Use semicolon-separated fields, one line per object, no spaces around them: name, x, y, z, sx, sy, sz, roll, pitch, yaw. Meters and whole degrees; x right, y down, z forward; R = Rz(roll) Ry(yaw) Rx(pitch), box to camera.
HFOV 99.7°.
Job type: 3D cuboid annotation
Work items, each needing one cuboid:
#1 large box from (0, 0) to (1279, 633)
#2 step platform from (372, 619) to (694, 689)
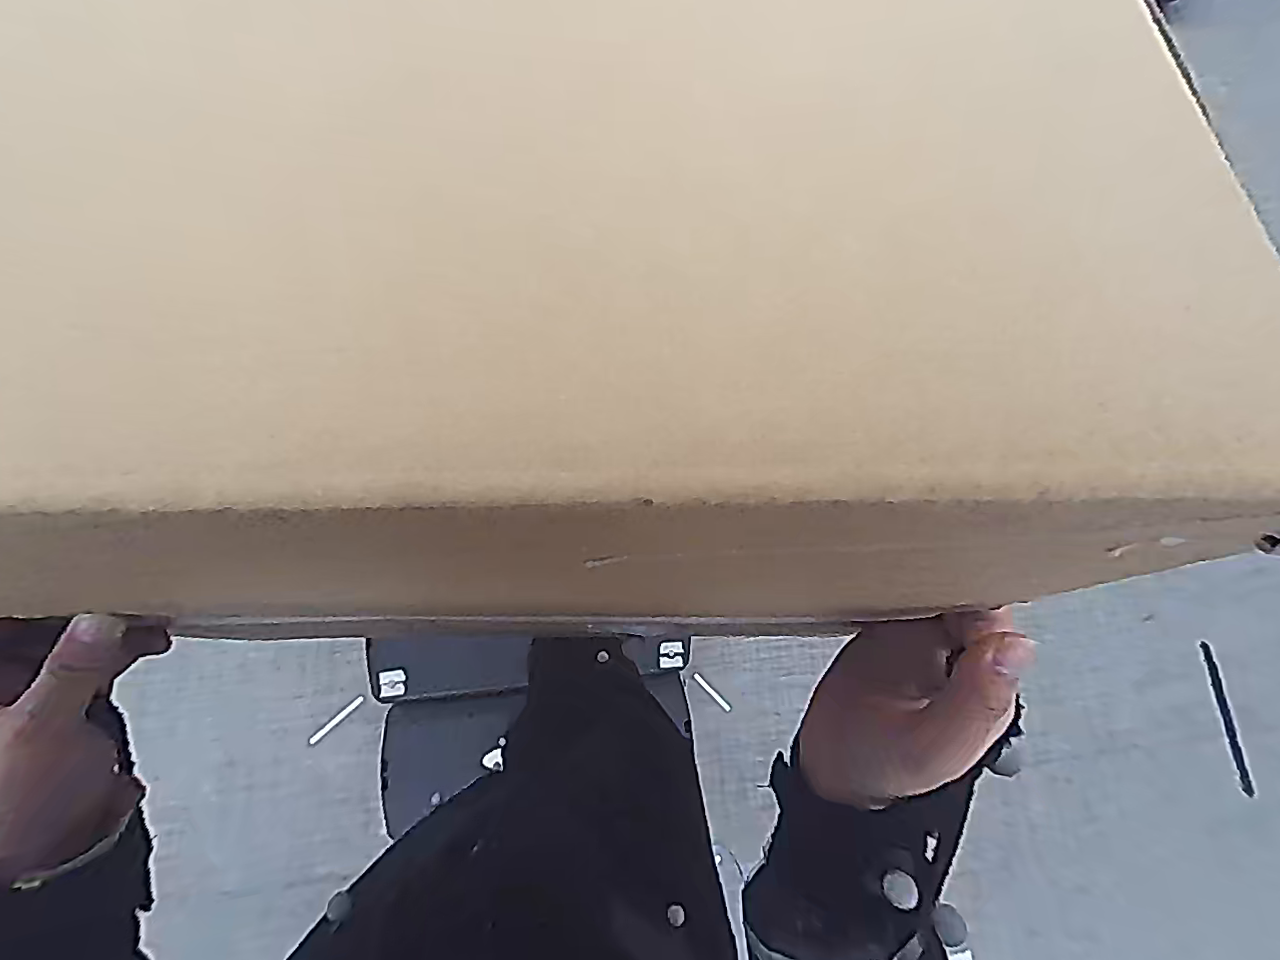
large box;-0.082;-0.094;0.285;0.408;0.320;0.320;-2;71;2
step platform;-0.221;0.303;1.210;0.684;0.204;0.286;1;79;-7
